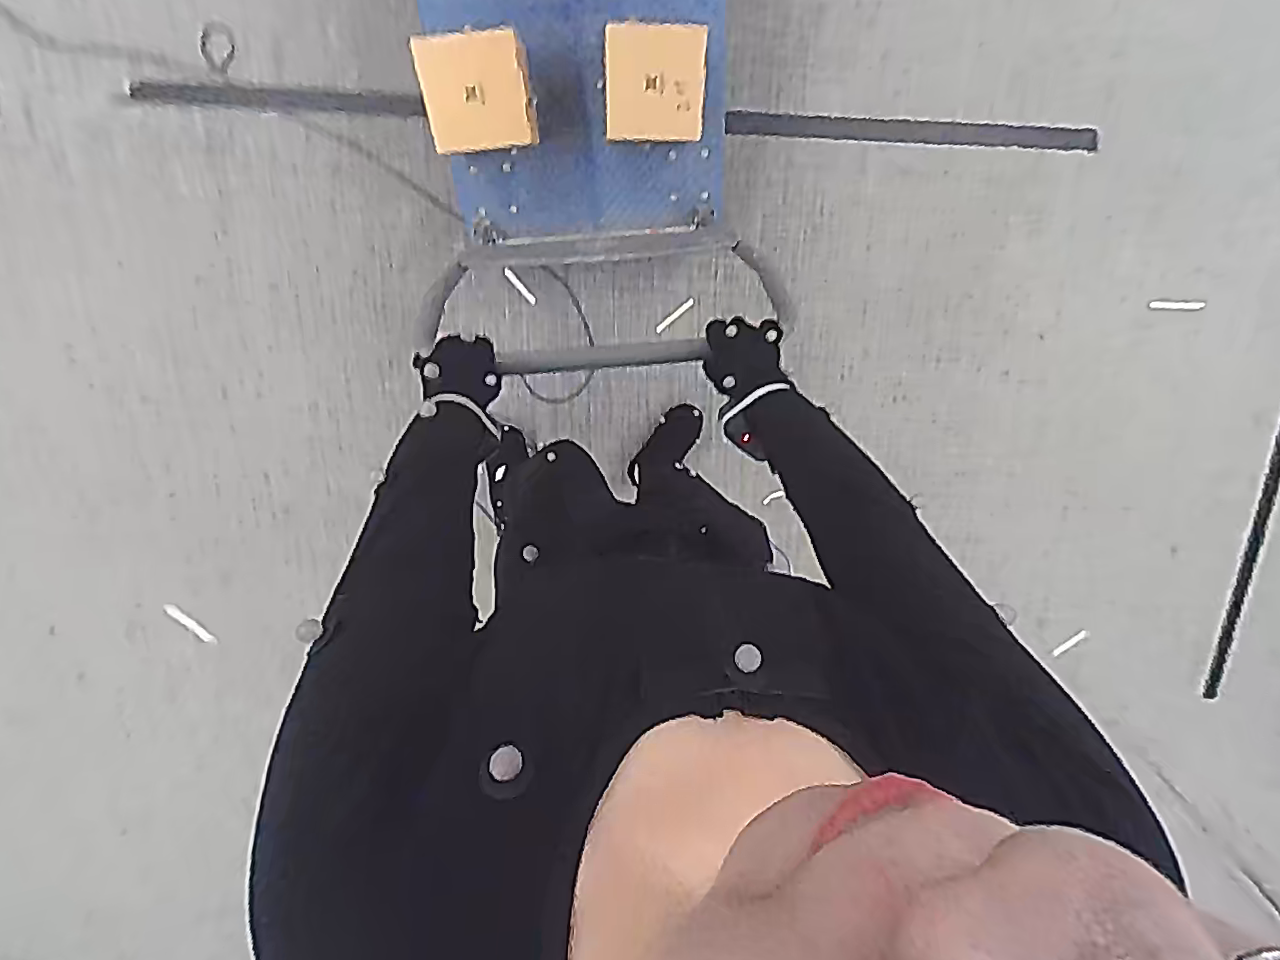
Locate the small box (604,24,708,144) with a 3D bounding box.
[{"bbox_3d":[0.022,-0.732,1.016,0.179,0.176,0.168,-2,121,-4],"label":"small box"}]

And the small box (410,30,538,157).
[{"bbox_3d":[-0.295,-0.705,1.002,0.179,0.176,0.168,-9,121,-2],"label":"small box"}]
